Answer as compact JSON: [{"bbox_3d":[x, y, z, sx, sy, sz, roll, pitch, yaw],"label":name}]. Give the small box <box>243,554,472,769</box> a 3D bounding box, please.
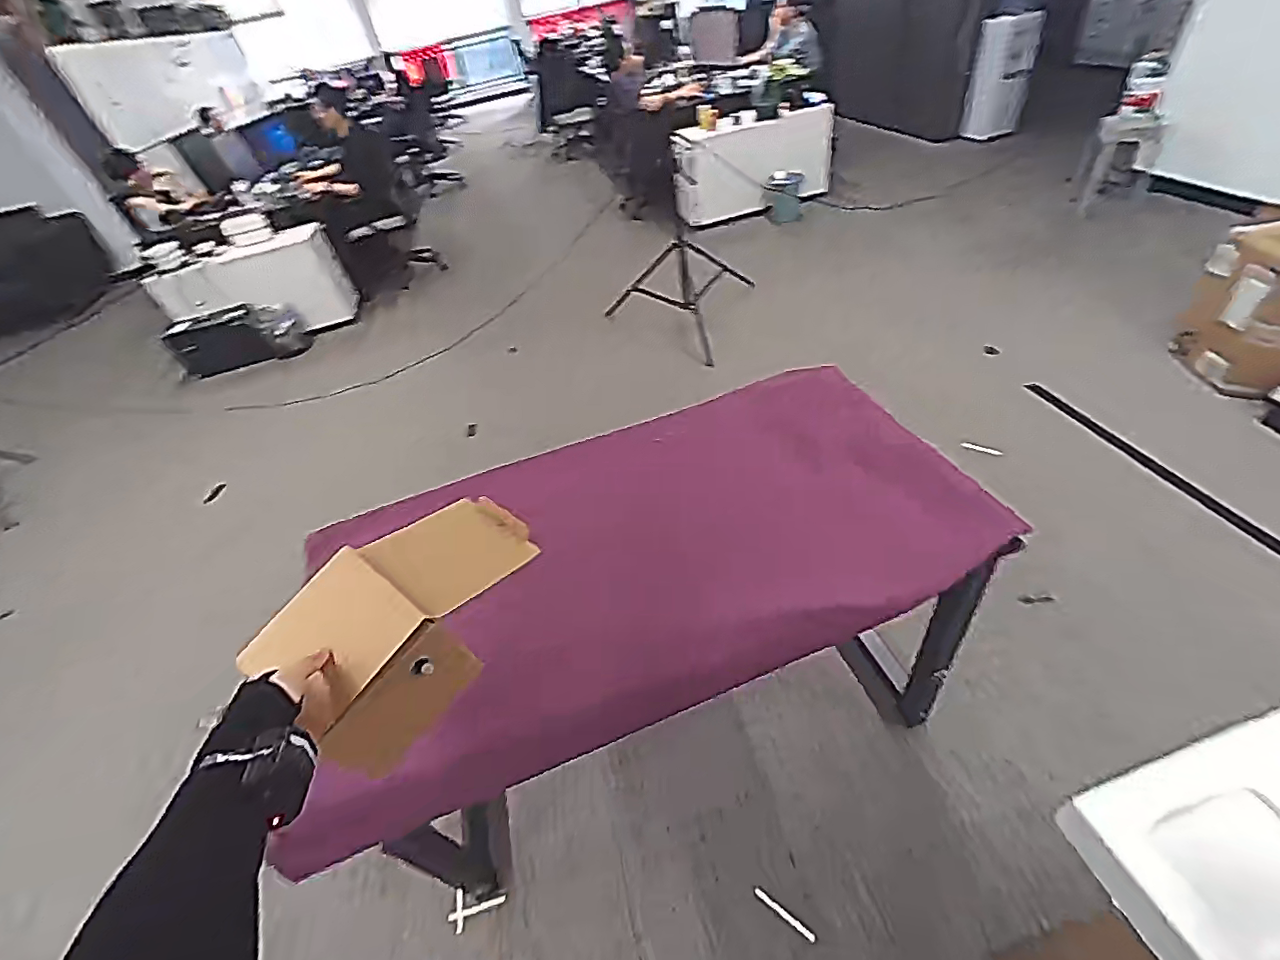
[{"bbox_3d":[-0.341,0.234,0.696,0.168,0.176,0.179,28,62,25],"label":"small box"}]
